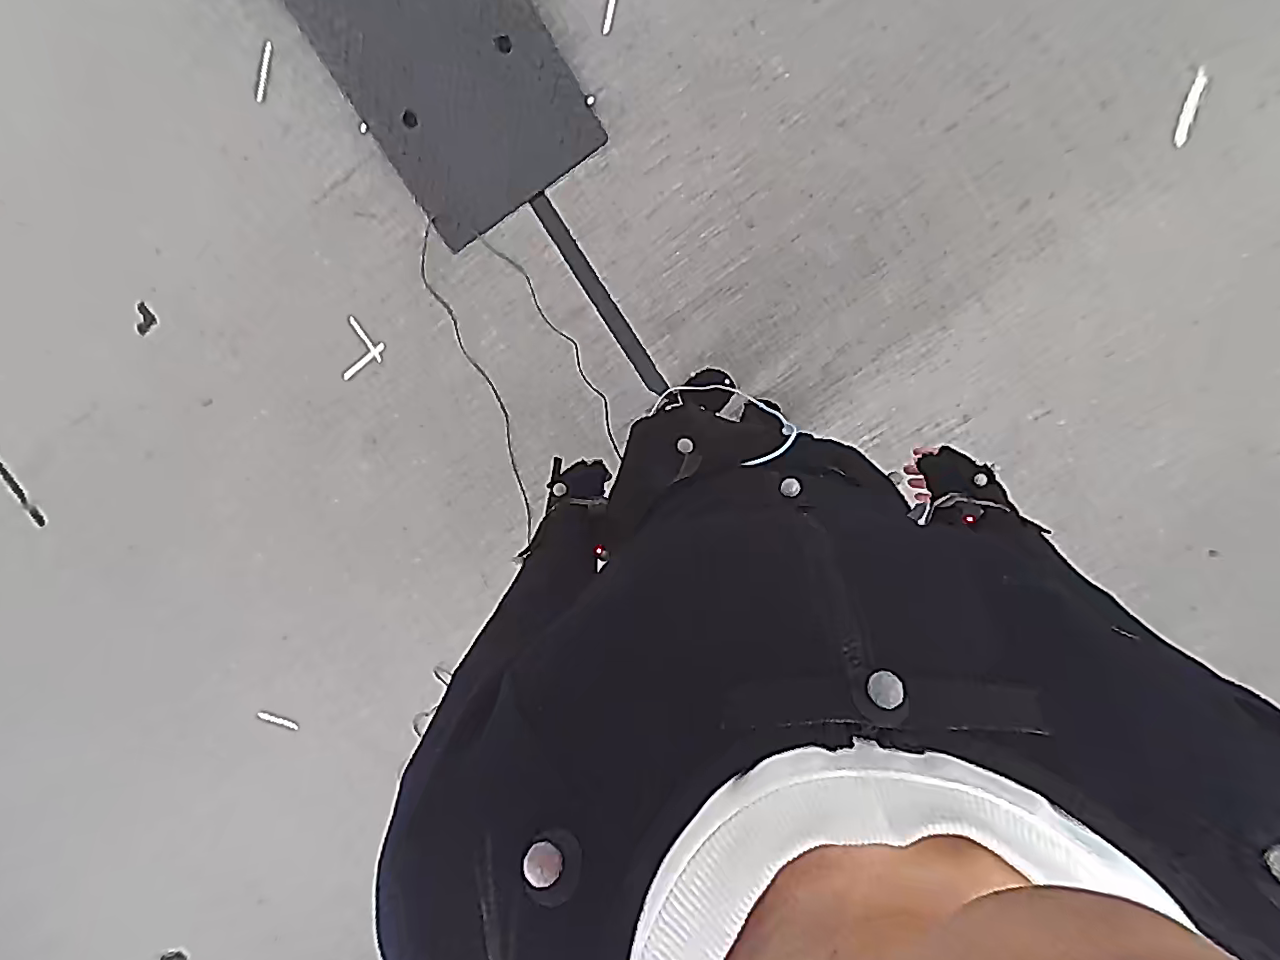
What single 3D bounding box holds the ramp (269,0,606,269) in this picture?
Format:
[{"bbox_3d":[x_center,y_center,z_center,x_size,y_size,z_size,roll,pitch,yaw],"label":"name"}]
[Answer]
[{"bbox_3d":[-0.548,-1.081,1.284,0.509,0.206,0.991,-34,94,9],"label":"ramp"}]
